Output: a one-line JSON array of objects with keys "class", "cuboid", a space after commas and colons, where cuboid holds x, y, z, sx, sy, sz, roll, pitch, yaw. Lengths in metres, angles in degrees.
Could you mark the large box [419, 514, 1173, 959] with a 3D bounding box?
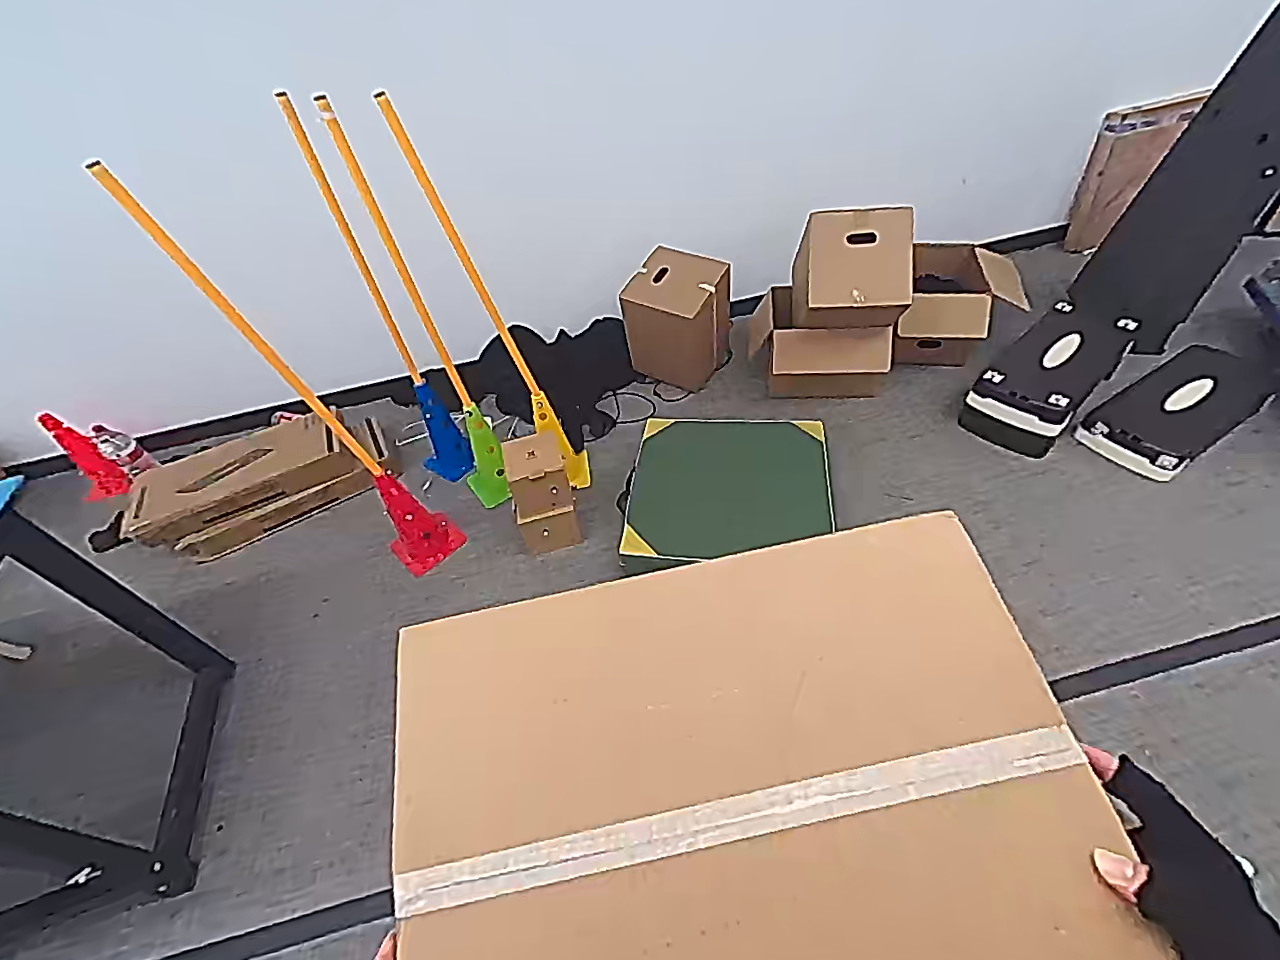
[{"class": "large box", "cuboid": [0.074, 0.269, 0.459, 0.408, 0.320, 0.320, -13, 63, 0]}]
